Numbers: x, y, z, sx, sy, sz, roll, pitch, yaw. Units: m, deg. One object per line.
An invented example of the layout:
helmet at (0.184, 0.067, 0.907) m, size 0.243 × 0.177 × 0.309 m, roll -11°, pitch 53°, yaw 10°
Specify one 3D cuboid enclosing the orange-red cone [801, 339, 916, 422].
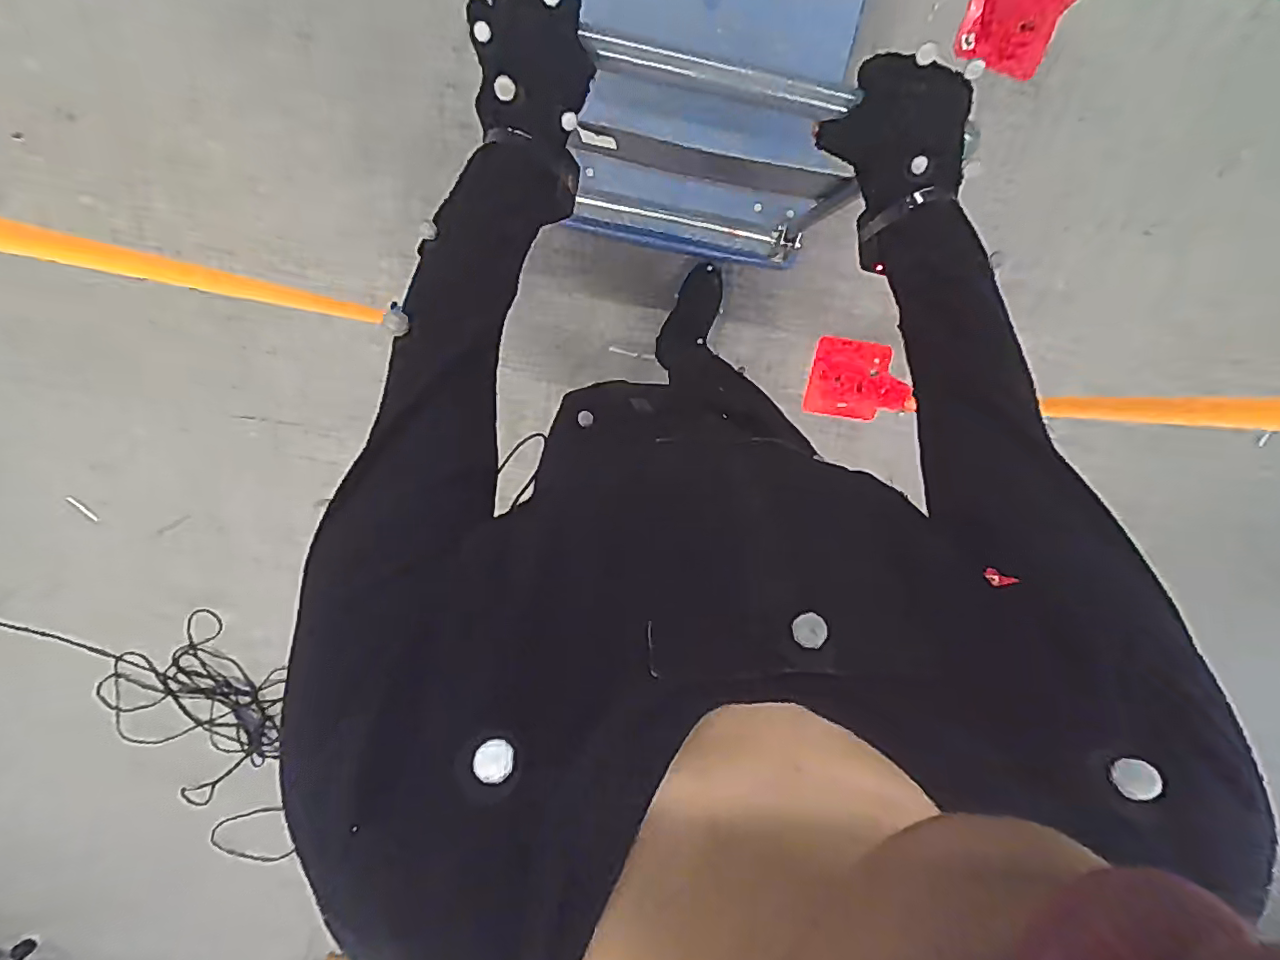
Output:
orange-red cone at (0.535, -0.210, 1.254) m, size 0.199 × 0.360 × 0.198 m, roll 10°, pitch 106°, yaw -2°
